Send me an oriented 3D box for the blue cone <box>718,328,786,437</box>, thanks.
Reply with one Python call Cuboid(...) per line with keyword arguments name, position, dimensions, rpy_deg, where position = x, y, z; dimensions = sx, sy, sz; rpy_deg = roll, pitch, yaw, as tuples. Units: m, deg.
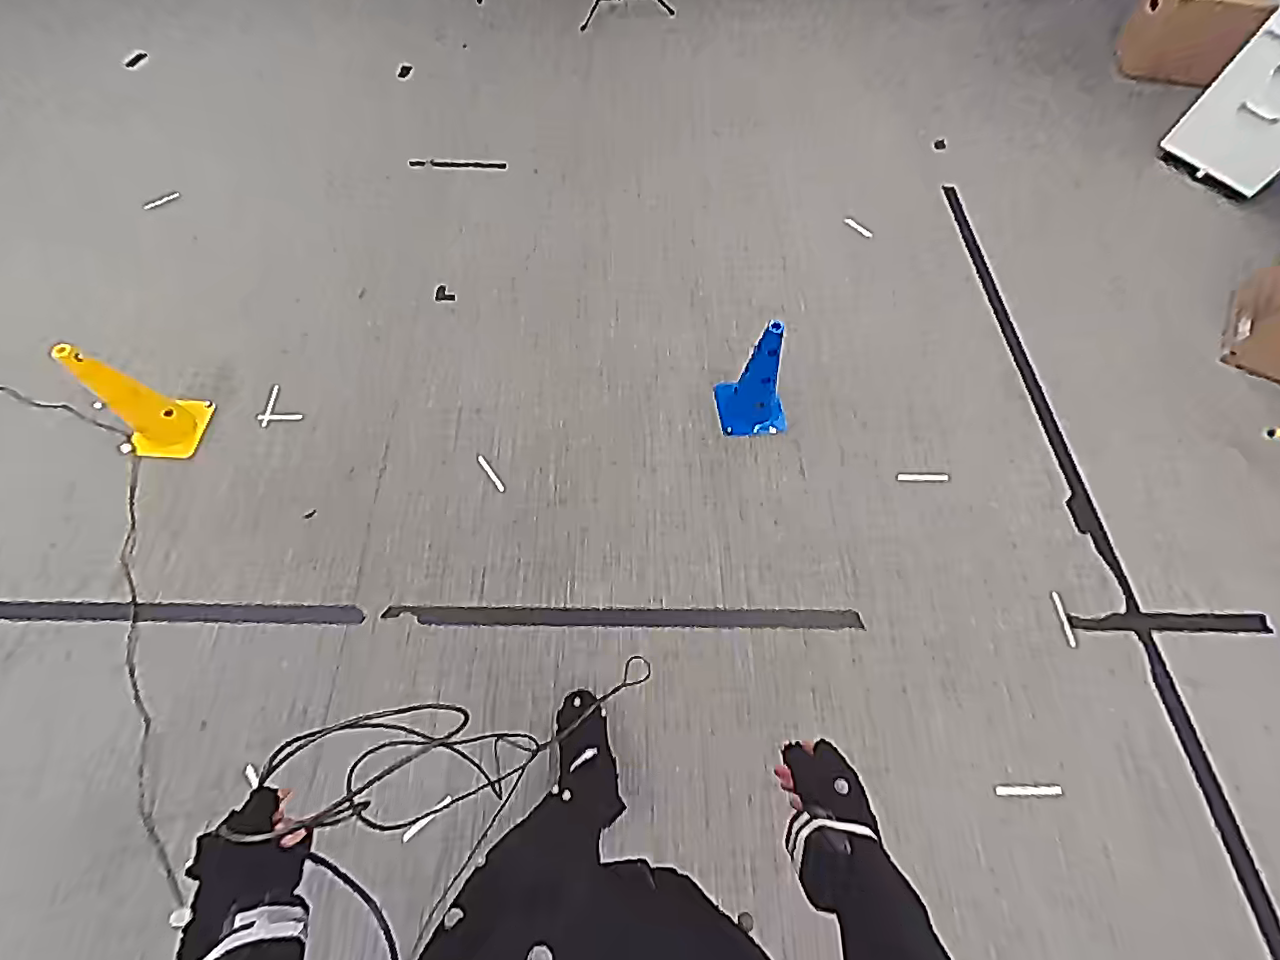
Cuboid(name="blue cone", position=(0.345, -0.293, 1.528), dimensions=(0.193, 0.380, 0.192), rpy_deg=(-4, 63, -3))
